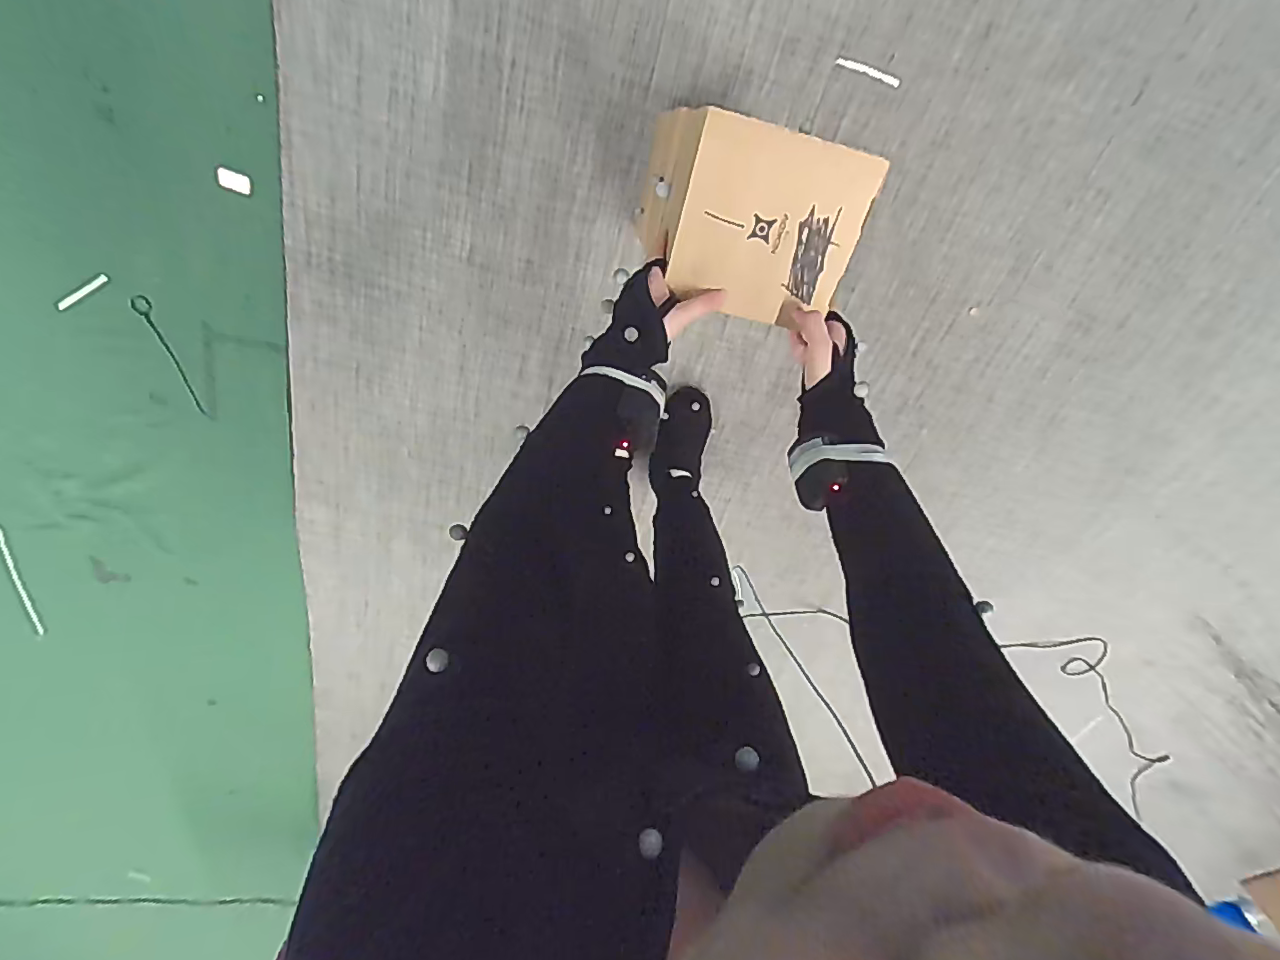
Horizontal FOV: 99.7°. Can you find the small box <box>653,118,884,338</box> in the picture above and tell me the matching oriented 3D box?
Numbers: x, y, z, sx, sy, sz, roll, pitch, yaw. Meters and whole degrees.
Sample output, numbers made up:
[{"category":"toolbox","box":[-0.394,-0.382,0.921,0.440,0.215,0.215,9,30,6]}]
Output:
[{"category":"small box","box":[0.119,-0.275,0.588,0.179,0.176,0.168,11,121,-8]}]

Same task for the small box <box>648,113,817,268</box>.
[{"category":"small box","box":[0.107,-0.368,0.724,0.168,0.176,0.179,9,122,-7]}]
